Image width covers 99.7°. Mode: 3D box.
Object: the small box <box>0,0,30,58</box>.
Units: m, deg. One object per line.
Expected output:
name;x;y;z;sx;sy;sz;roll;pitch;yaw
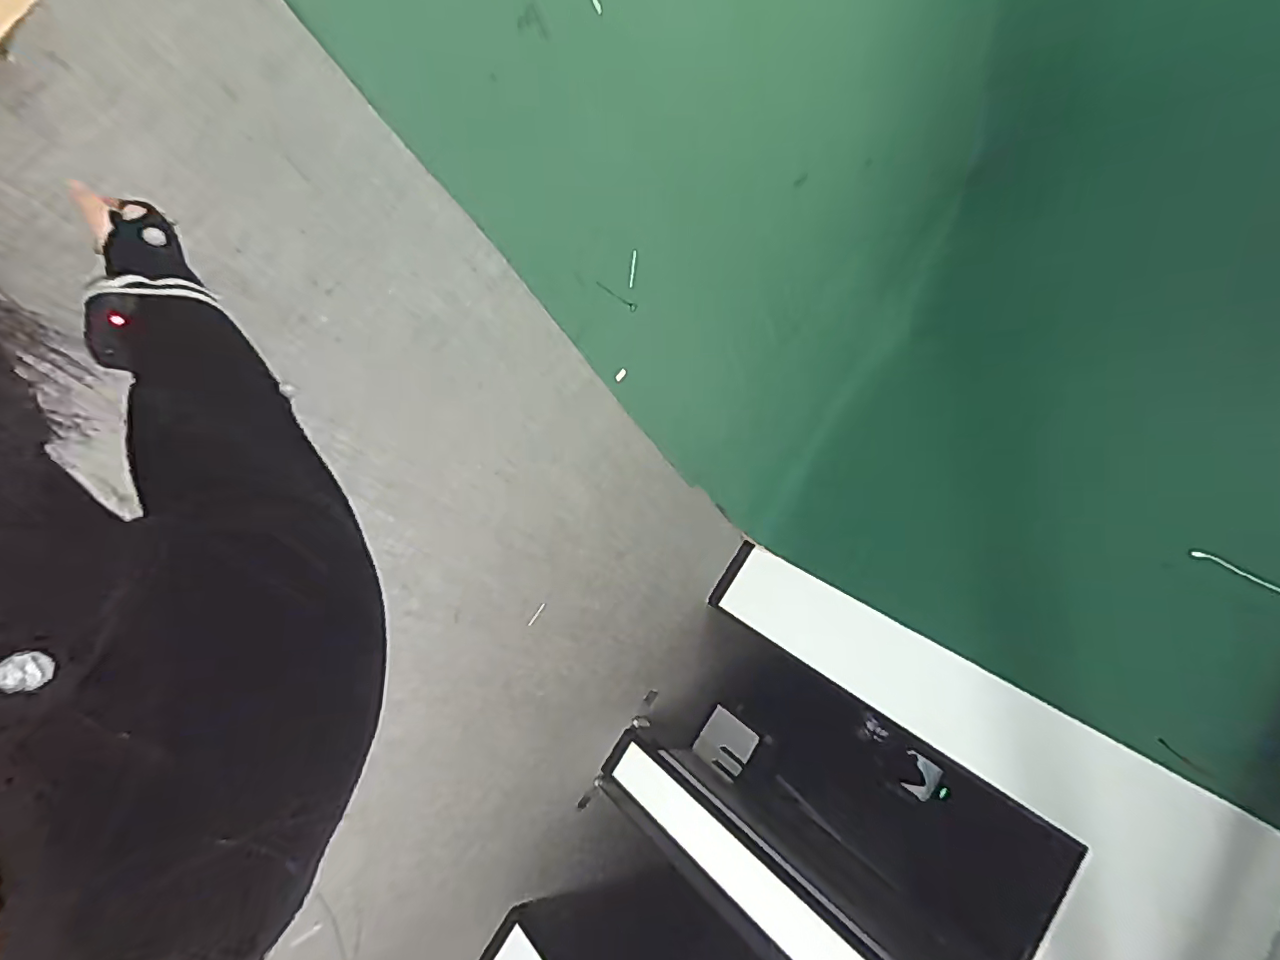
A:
small box;-0.832;-0.524;0.580;0.168;0.176;0.179;-57;145;-9
